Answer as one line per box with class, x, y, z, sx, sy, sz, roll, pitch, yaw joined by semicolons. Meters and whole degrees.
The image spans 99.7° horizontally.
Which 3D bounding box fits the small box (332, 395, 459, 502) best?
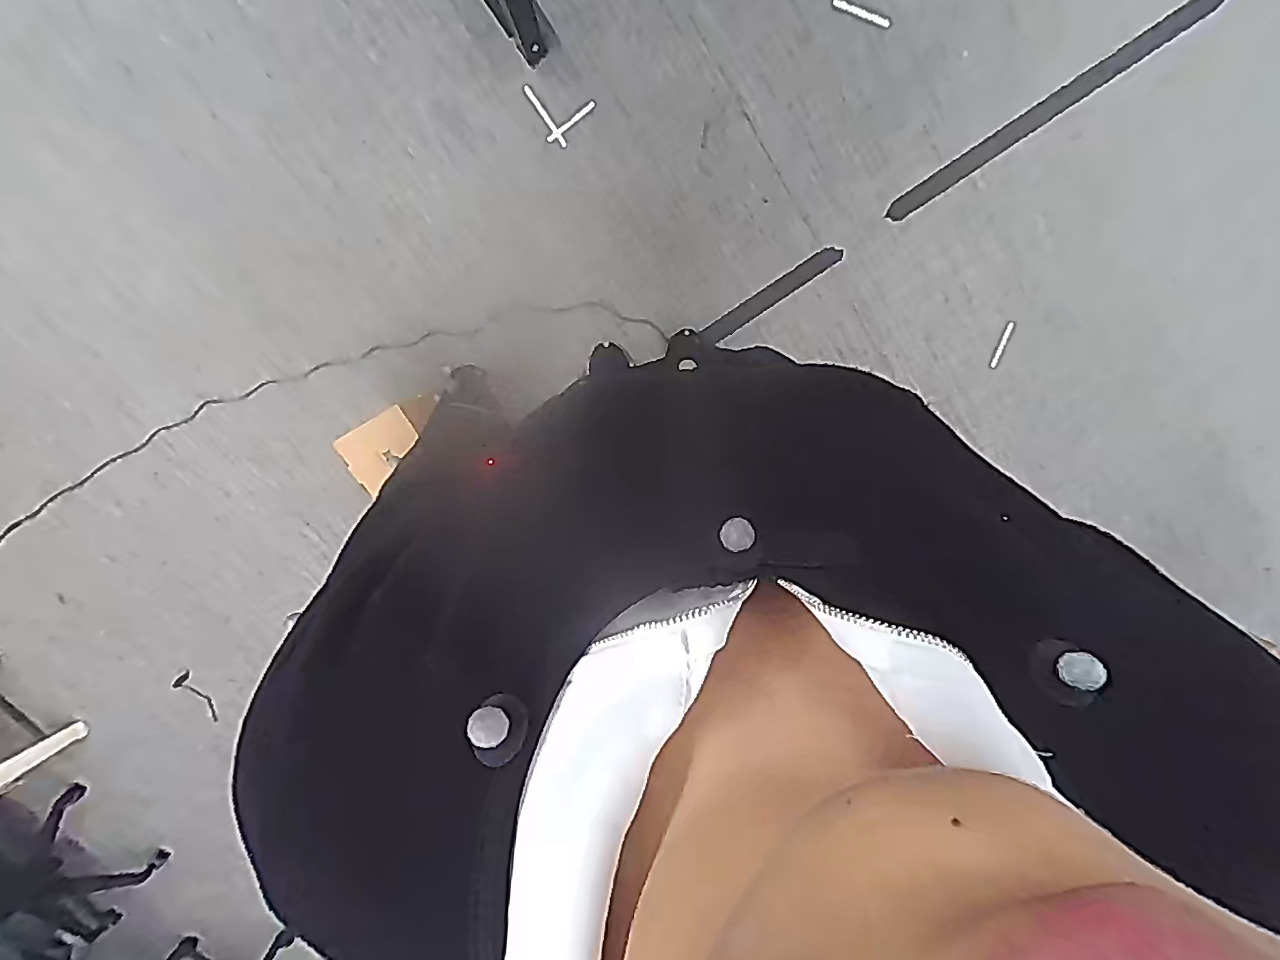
small box;-0.549;-0.077;1.242;0.179;0.176;0.168;-29;105;6
